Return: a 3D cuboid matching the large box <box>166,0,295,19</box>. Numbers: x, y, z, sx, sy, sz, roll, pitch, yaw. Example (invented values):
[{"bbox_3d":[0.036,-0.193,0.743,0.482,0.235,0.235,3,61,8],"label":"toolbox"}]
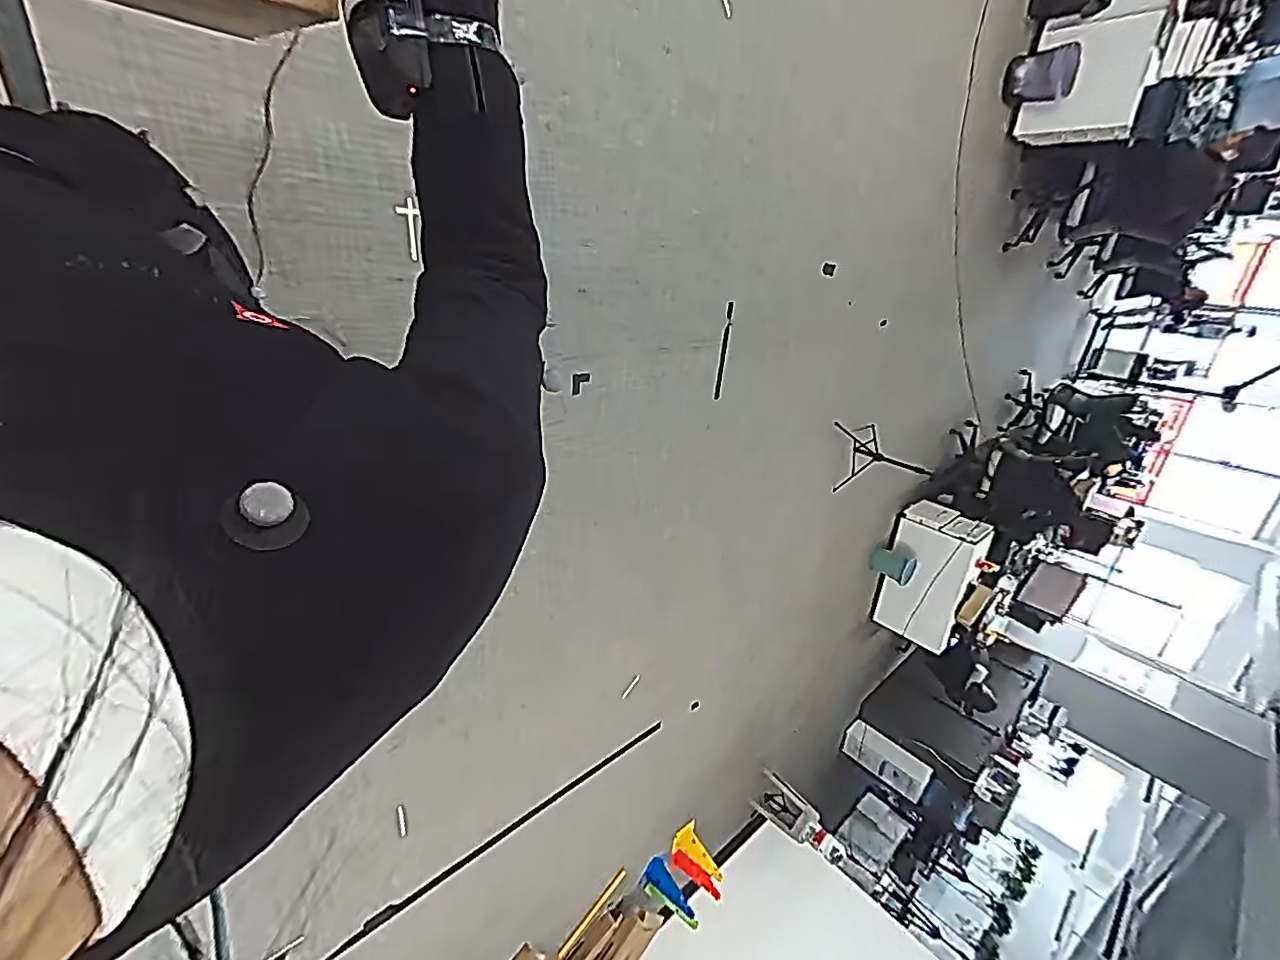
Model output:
[{"bbox_3d":[-0.404,-0.456,0.225,0.408,0.320,0.320,-13,129,-39],"label":"large box"}]
